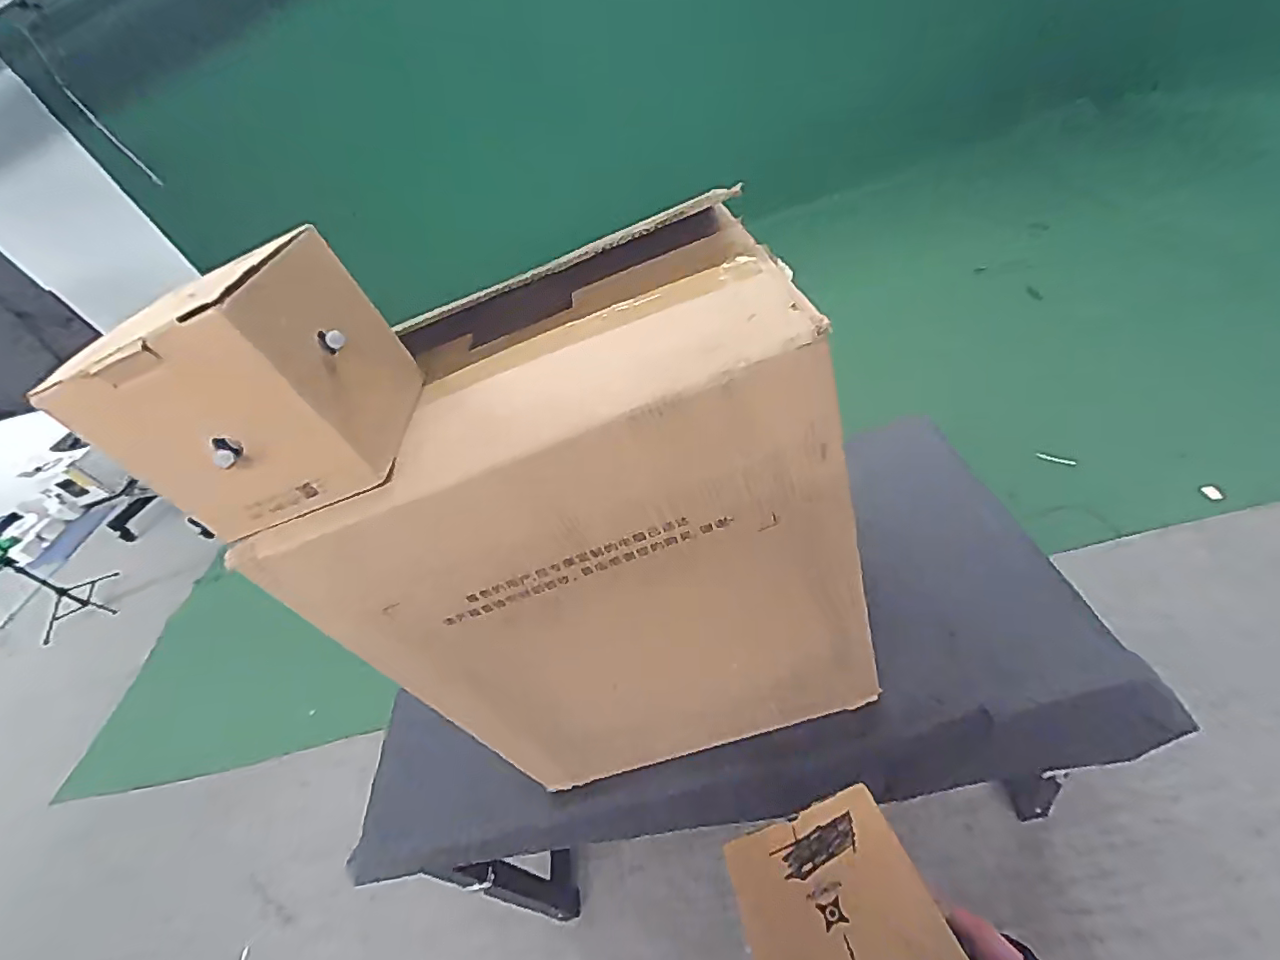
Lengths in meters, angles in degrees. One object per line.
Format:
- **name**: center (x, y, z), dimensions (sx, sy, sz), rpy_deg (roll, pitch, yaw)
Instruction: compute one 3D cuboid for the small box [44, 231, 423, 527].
- **small box**: center (-0.317, -0.079, 0.473), dimensions (0.168, 0.176, 0.179), rpy_deg (-19, 41, 9)
